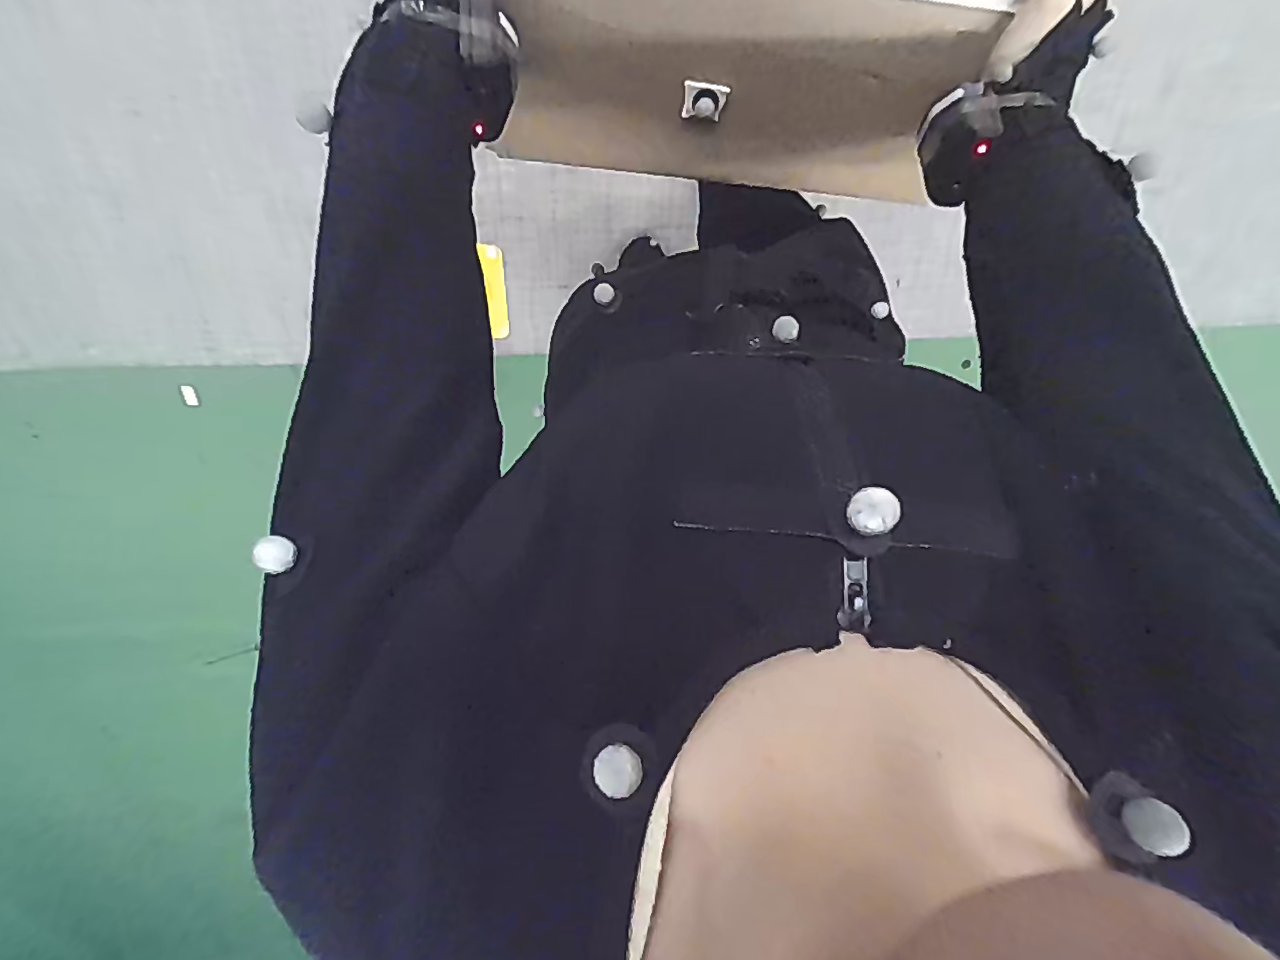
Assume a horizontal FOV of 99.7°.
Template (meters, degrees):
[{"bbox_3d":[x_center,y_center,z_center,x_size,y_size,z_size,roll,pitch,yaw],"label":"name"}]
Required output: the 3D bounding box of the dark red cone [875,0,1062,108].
[{"bbox_3d":[0.528,-0.716,0.824,0.202,0.394,0.201,-8,120,4],"label":"dark red cone"}]
